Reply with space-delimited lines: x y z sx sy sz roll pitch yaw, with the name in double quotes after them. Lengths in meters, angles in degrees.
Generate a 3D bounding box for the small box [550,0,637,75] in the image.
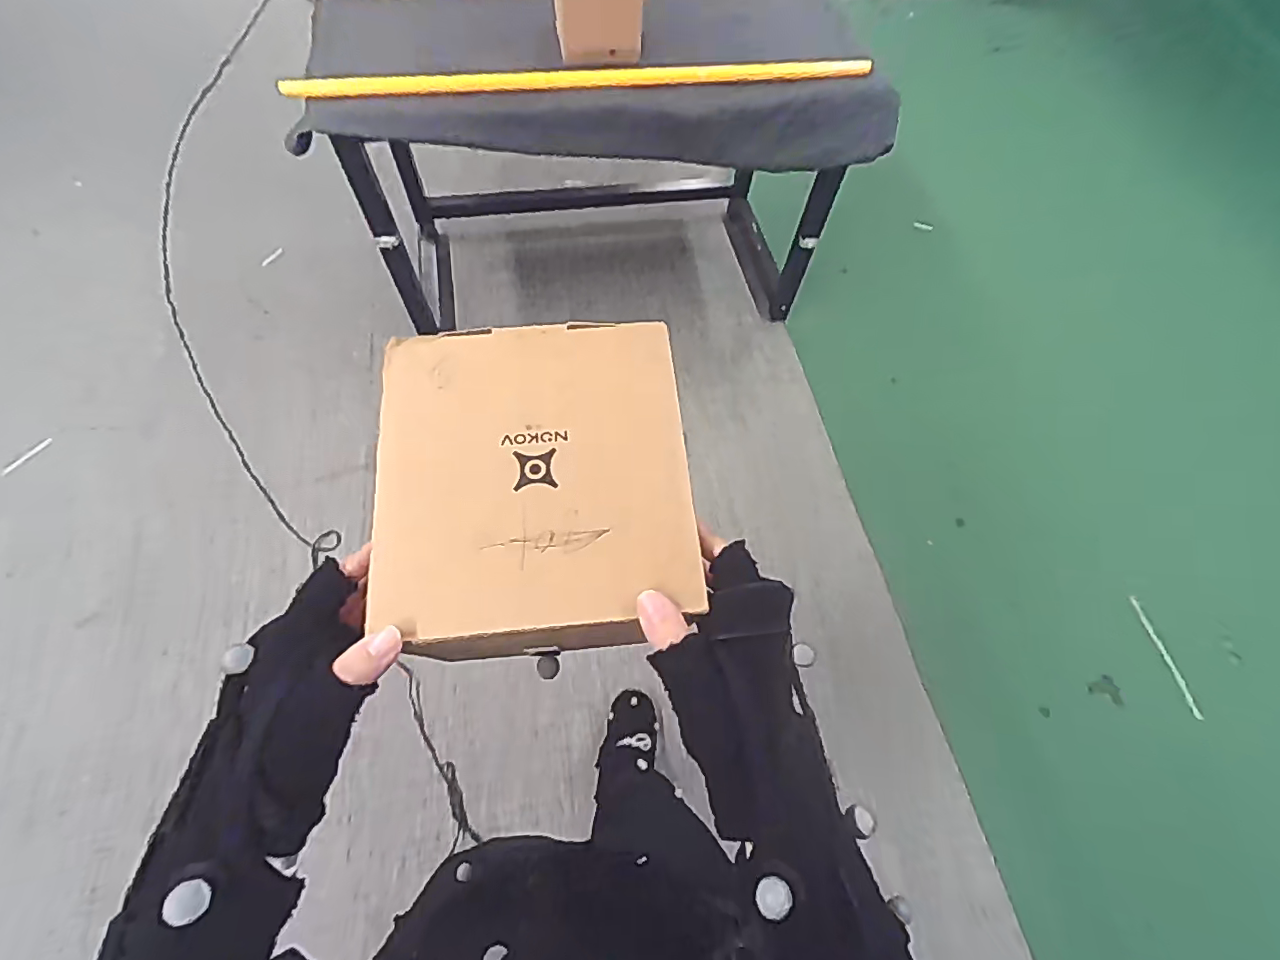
-0.103 -0.995 1.143 0.168 0.176 0.179 -8 63 -7 "small box"

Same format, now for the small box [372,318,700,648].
-0.062 0.013 0.374 0.168 0.176 0.179 -5 70 -5 "small box"
